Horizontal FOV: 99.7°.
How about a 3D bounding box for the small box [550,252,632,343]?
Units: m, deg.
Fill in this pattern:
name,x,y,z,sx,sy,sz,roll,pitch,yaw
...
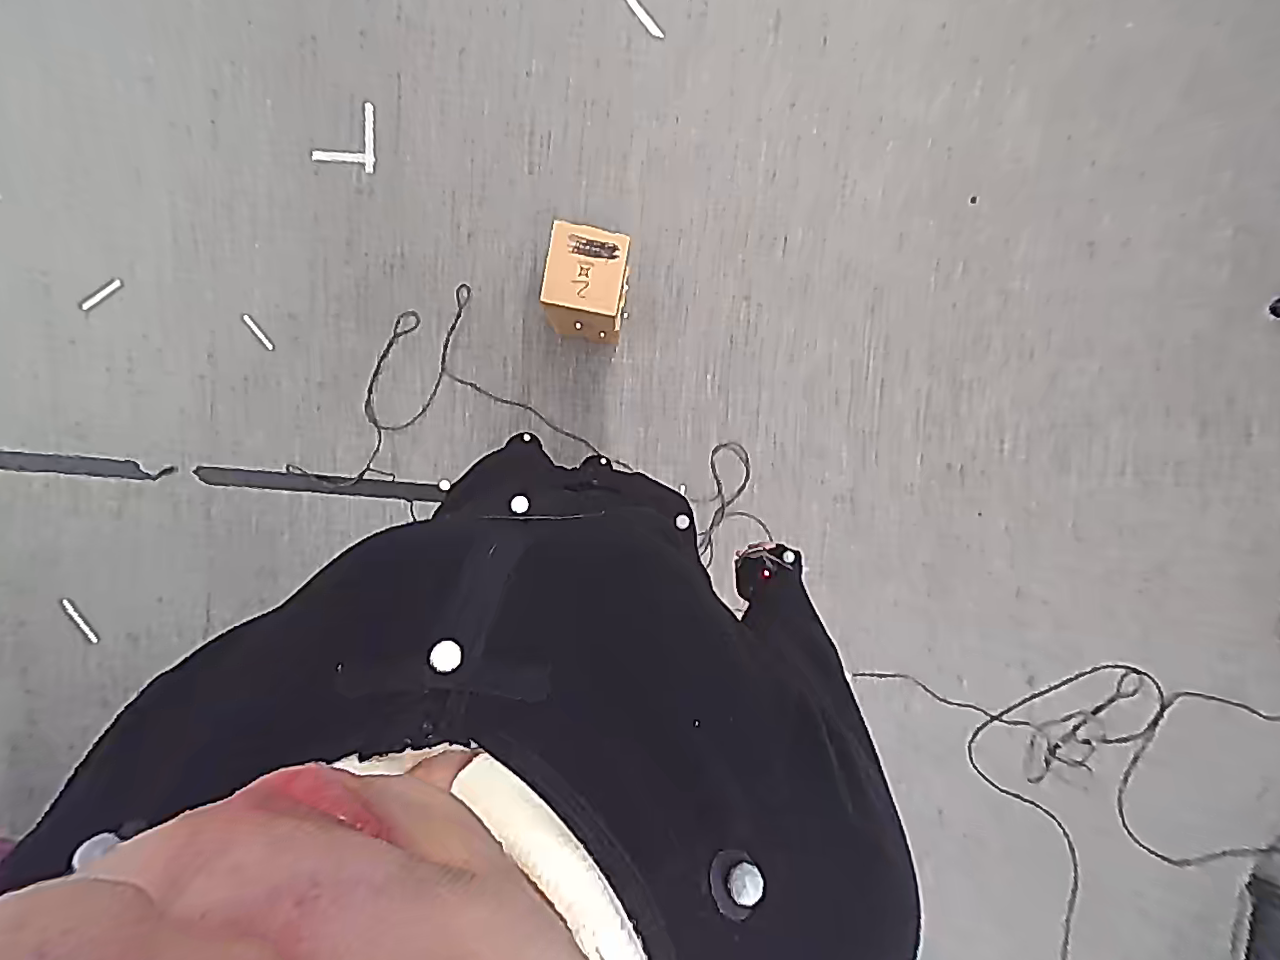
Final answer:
name,x,y,z,sx,sy,sz,roll,pitch,yaw
small box,-0.123,-0.459,1.388,0.179,0.176,0.168,9,92,-4
